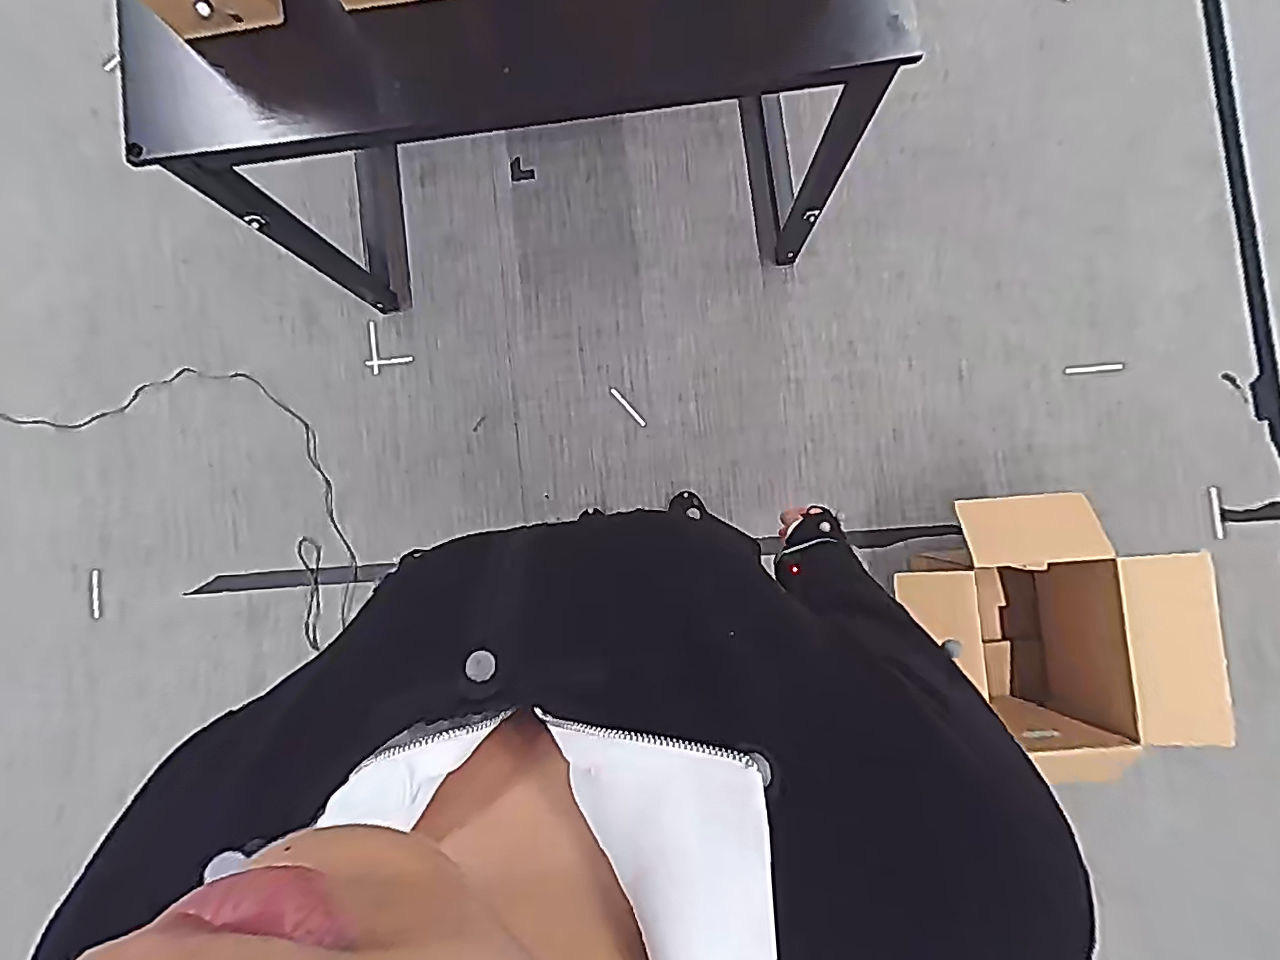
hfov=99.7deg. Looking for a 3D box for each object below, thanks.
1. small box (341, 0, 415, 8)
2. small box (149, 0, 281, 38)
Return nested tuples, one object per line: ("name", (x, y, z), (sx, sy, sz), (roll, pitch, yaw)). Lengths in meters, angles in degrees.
("small box", (-0.377, -0.808, 0.746), (0.179, 0.176, 0.168), (-6, 87, 2))
("small box", (-0.641, -0.778, 0.755), (0.168, 0.176, 0.179), (-8, 88, 2))
